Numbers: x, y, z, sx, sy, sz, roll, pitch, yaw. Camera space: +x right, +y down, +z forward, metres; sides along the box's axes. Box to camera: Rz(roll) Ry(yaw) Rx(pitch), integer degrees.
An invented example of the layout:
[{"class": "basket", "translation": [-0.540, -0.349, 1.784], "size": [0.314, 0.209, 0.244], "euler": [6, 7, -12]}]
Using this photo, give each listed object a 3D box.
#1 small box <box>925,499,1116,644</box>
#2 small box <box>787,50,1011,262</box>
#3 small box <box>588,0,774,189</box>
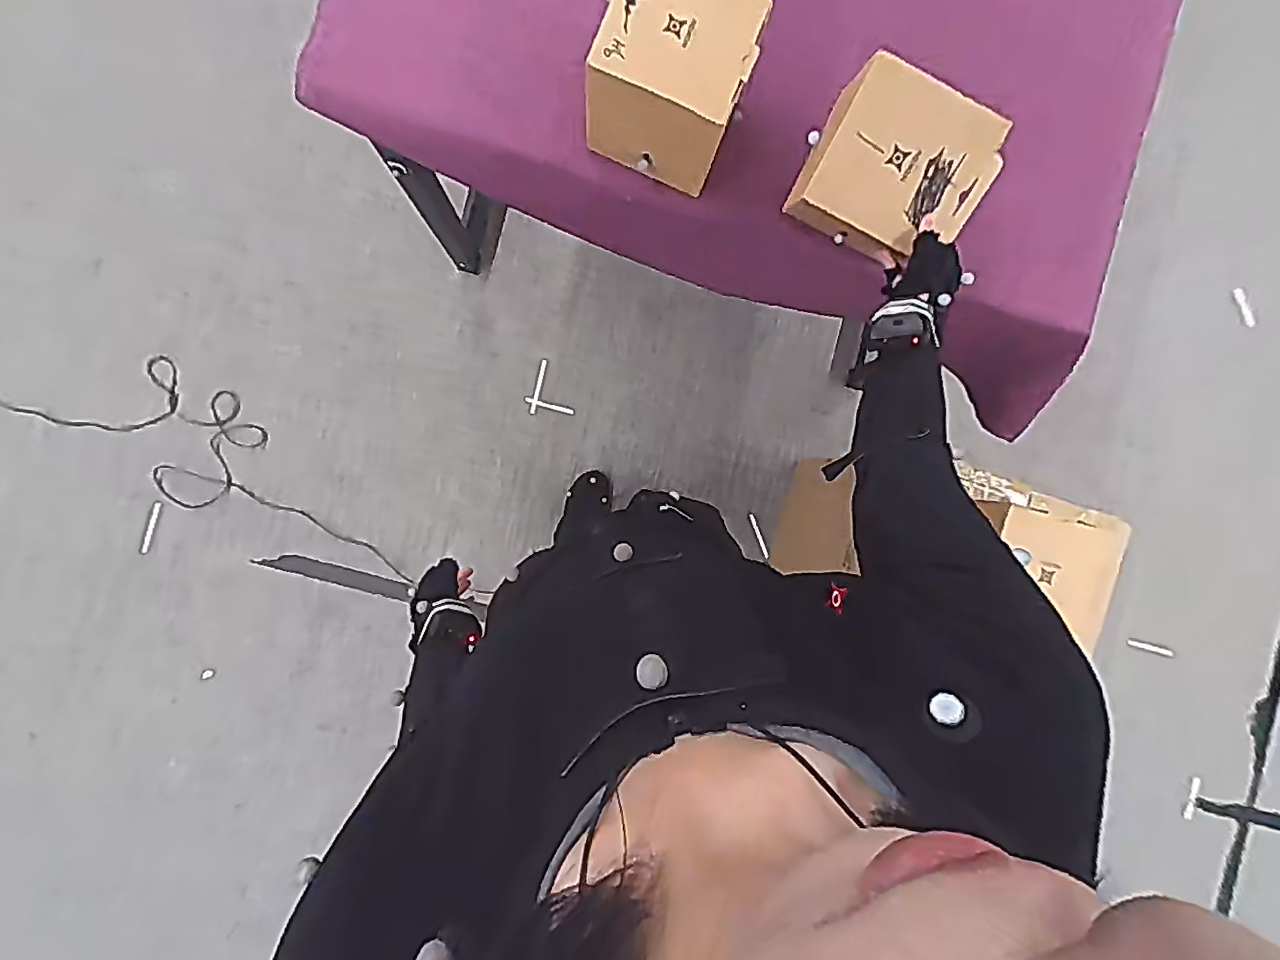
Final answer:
[{"class": "small box", "translation": [0.587, 0.133, 0.858], "size": [0.168, 0.176, 0.179], "euler": [15, 91, -2]}, {"class": "small box", "translation": [0.316, -0.402, 0.705], "size": [0.179, 0.176, 0.168], "euler": [26, 111, -4]}, {"class": "small box", "translation": [0.042, -0.519, 0.708], "size": [0.179, 0.176, 0.168], "euler": [22, 88, -5]}]
